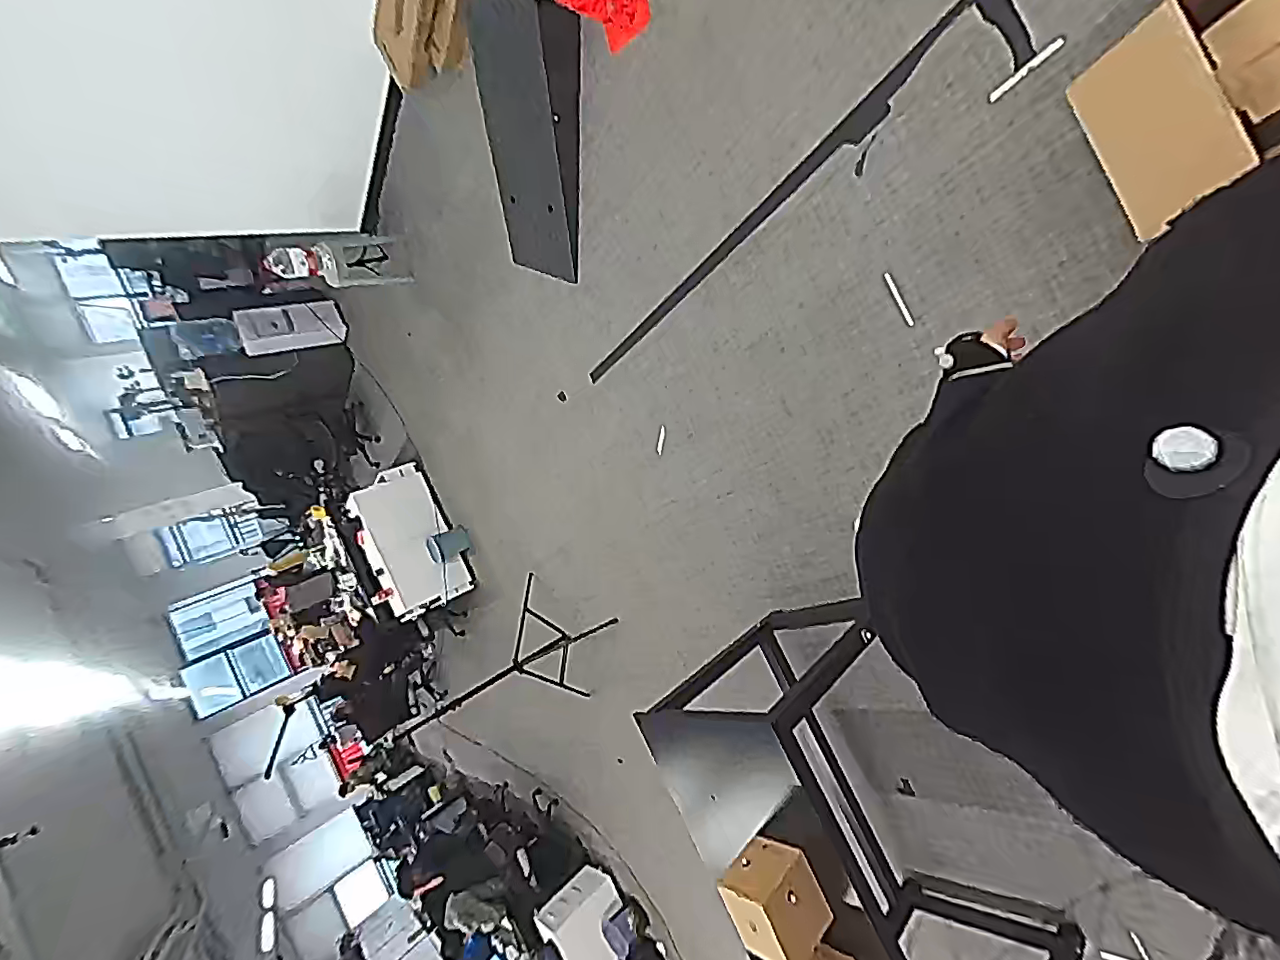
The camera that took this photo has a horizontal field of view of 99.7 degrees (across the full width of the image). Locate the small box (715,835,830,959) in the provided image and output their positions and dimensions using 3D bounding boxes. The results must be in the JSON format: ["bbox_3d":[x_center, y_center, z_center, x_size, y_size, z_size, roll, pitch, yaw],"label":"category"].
[{"bbox_3d":[0.319,1.003,1.301,0.168,0.176,0.179,-29,87,54],"label":"small box"}]
